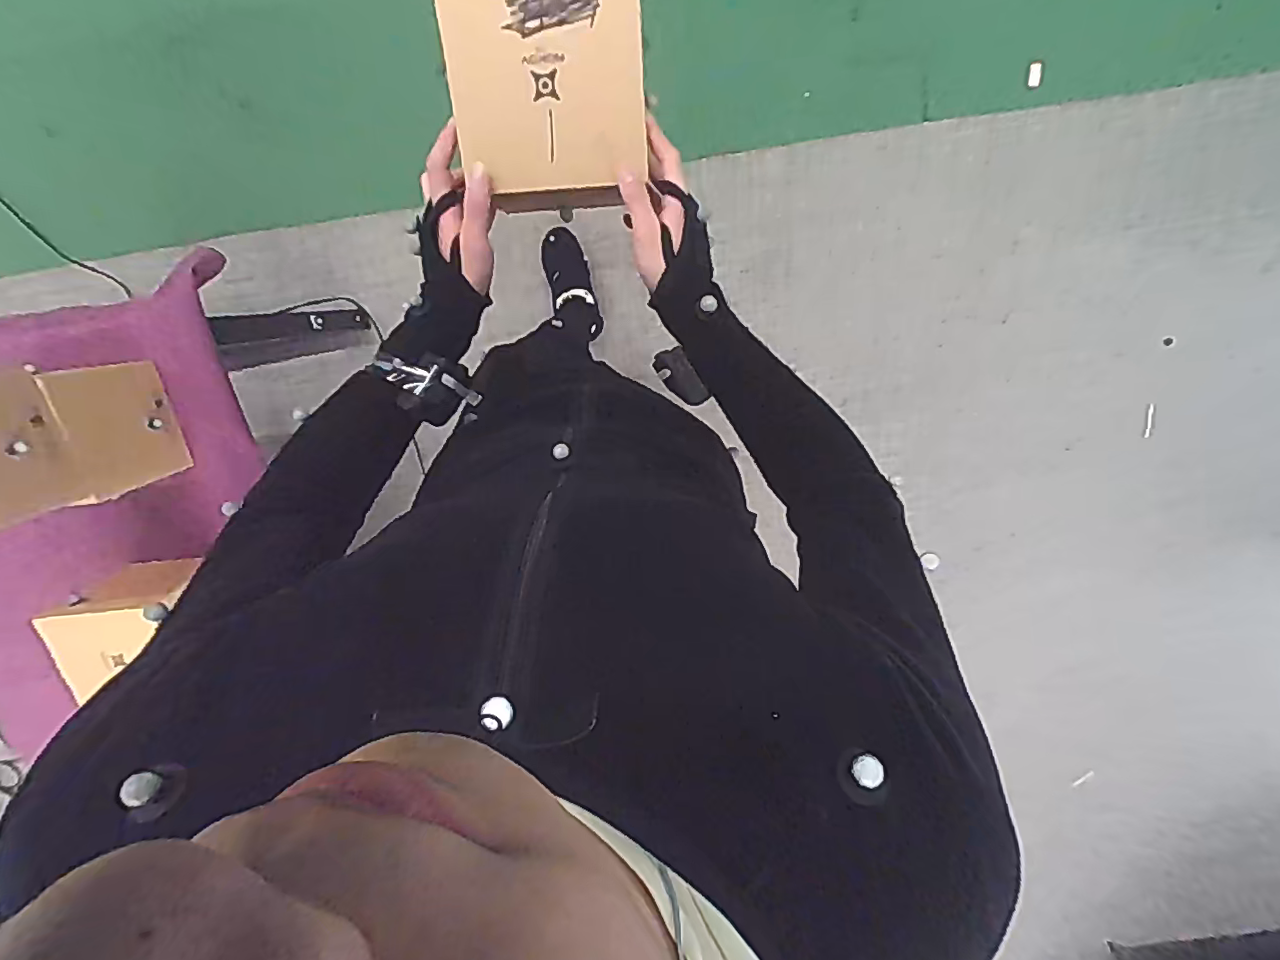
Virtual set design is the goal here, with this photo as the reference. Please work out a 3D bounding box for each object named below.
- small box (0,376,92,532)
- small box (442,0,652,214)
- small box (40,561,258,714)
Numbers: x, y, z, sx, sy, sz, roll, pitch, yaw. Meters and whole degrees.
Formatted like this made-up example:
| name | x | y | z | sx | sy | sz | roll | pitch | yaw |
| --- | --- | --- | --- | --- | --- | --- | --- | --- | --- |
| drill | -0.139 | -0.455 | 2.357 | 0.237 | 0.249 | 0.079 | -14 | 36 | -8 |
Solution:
| name | x | y | z | sx | sy | sz | roll | pitch | yaw |
| --- | --- | --- | --- | --- | --- | --- | --- | --- | --- |
| small box | -0.794 | -0.014 | 0.598 | 0.179 | 0.176 | 0.168 | -8 | 109 | 2 |
| small box | -0.077 | -0.367 | 0.525 | 0.168 | 0.176 | 0.179 | -4 | 112 | 1 |
| small box | -0.752 | 0.241 | 0.859 | 0.179 | 0.176 | 0.168 | -6 | 108 | 2 |
